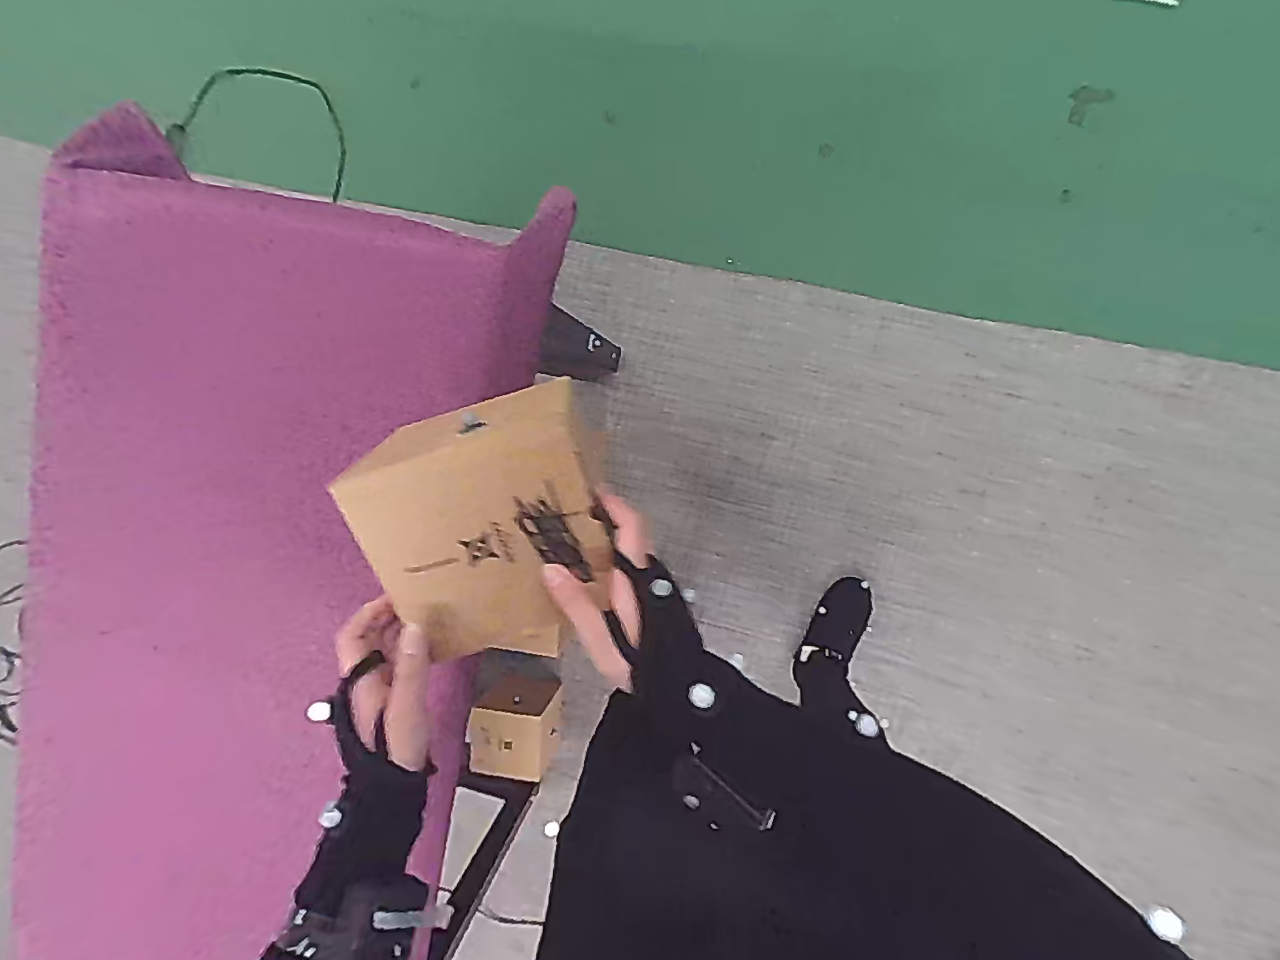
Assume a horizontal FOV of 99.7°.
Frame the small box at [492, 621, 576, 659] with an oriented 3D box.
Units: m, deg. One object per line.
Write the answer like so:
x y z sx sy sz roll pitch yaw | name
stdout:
-0.248 0.301 1.293 0.168 0.176 0.179 6 97 9 | small box

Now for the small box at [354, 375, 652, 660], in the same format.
-0.103 0.018 0.473 0.179 0.176 0.168 -17 111 0 | small box

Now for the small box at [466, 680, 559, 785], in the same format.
-0.307 0.611 1.329 0.179 0.176 0.168 4 96 9 | small box
